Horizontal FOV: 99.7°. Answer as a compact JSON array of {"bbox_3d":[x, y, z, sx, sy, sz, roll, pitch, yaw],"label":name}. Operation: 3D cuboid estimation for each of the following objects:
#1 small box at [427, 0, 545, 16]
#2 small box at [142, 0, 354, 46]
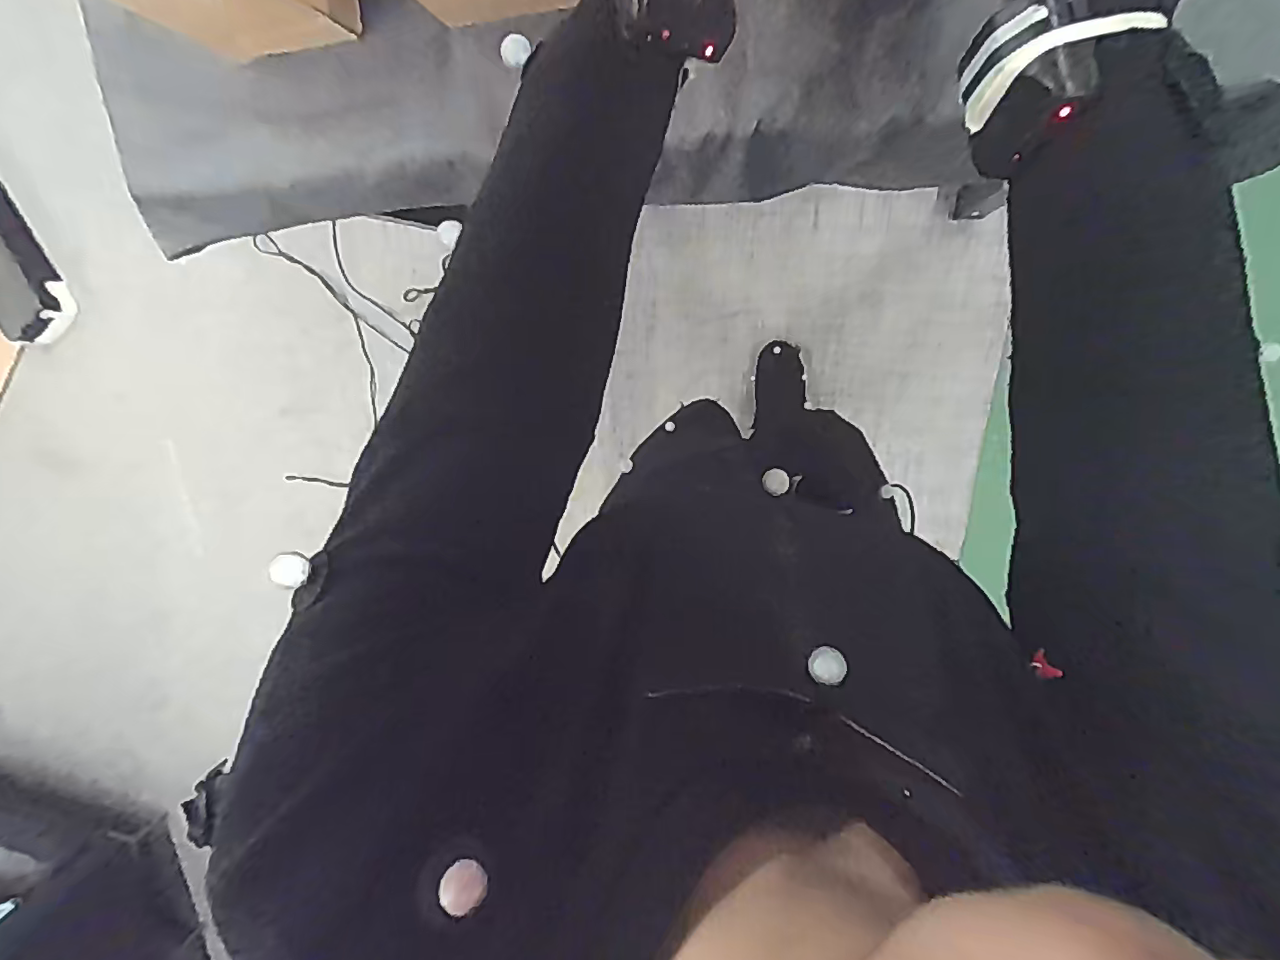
[{"bbox_3d":[-0.138,-0.511,0.423,0.179,0.176,0.168,6,107,18],"label":"small box"},{"bbox_3d":[-0.407,-0.541,0.501,0.179,0.176,0.168,4,108,16],"label":"small box"}]
